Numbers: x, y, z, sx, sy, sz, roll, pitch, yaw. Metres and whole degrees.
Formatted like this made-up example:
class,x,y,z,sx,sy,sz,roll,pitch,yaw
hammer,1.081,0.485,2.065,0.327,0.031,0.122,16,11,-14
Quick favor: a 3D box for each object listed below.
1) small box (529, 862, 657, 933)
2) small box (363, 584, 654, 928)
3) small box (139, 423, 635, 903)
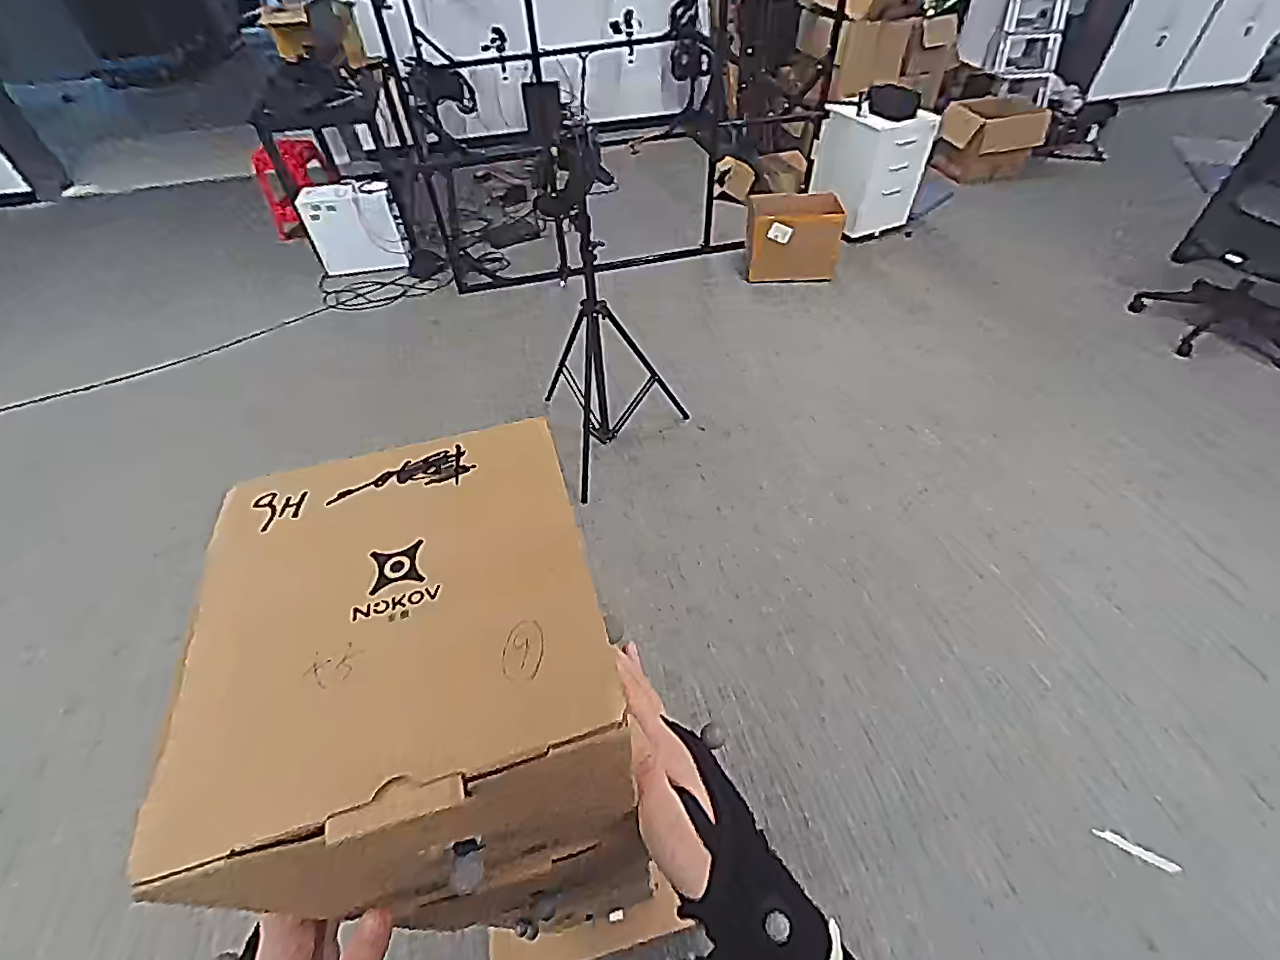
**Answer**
class,x,y,z,sx,sy,sz,roll,pitch,yaw
small box,-0.077,0.531,0.793,0.168,0.176,0.179,-13,50,-9
small box,-0.091,0.211,0.418,0.168,0.176,0.179,-14,50,-9
small box,-0.102,0.101,0.296,0.168,0.176,0.179,-13,50,-10
